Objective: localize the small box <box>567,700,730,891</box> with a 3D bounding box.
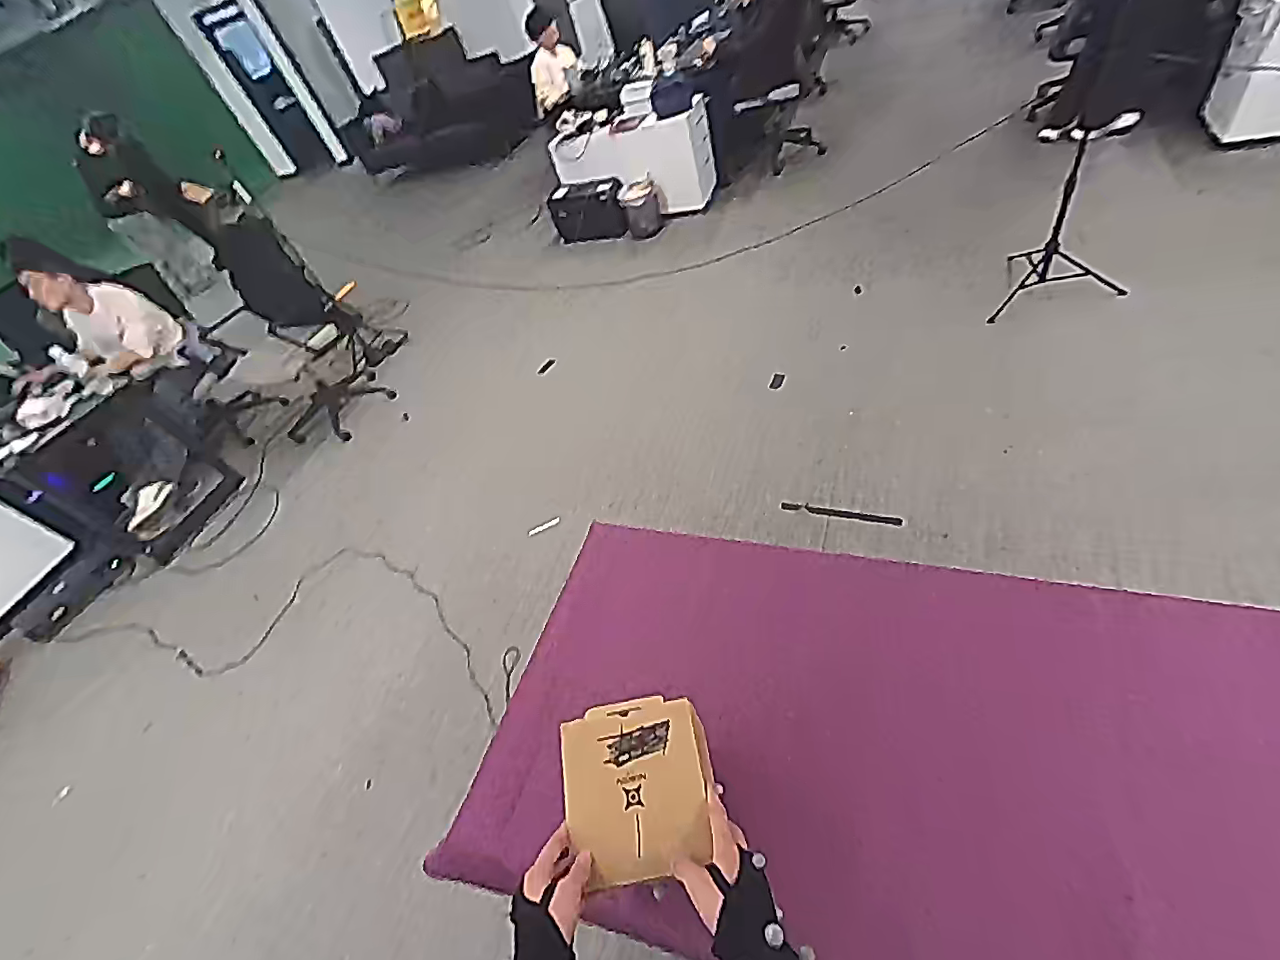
[{"bbox_3d":[0.013,0.400,0.681,0.168,0.176,0.179,-13,53,5],"label":"small box"}]
